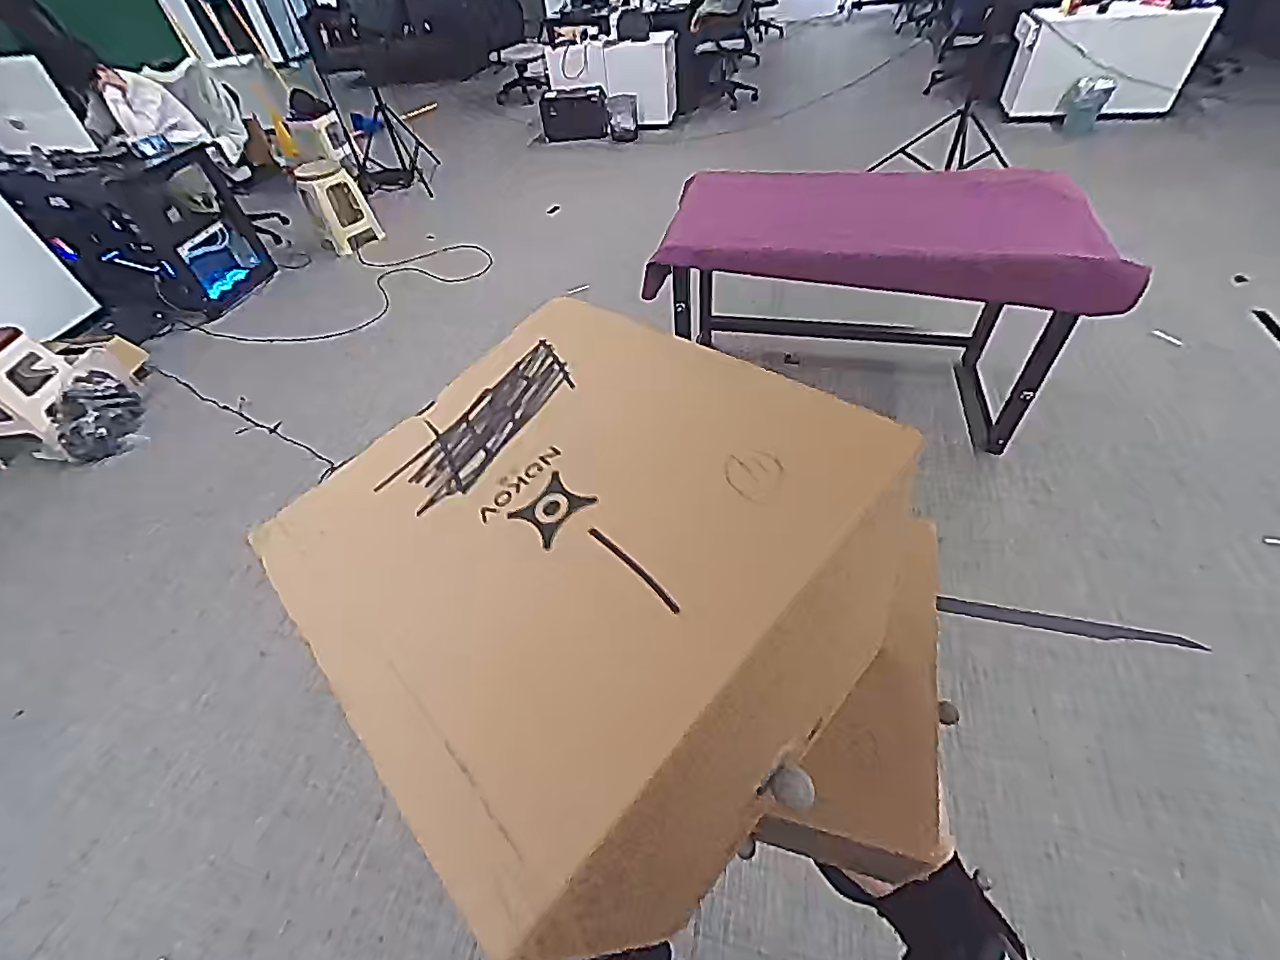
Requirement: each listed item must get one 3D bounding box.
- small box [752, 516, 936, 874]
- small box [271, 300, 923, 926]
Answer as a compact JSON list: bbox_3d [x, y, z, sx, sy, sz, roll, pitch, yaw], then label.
[{"bbox_3d":[0.094,0.134,0.360,0.168,0.176,0.179,5,53,22],"label":"small box"},{"bbox_3d":[-0.009,0.053,0.244,0.179,0.176,0.168,32,68,35],"label":"small box"}]
